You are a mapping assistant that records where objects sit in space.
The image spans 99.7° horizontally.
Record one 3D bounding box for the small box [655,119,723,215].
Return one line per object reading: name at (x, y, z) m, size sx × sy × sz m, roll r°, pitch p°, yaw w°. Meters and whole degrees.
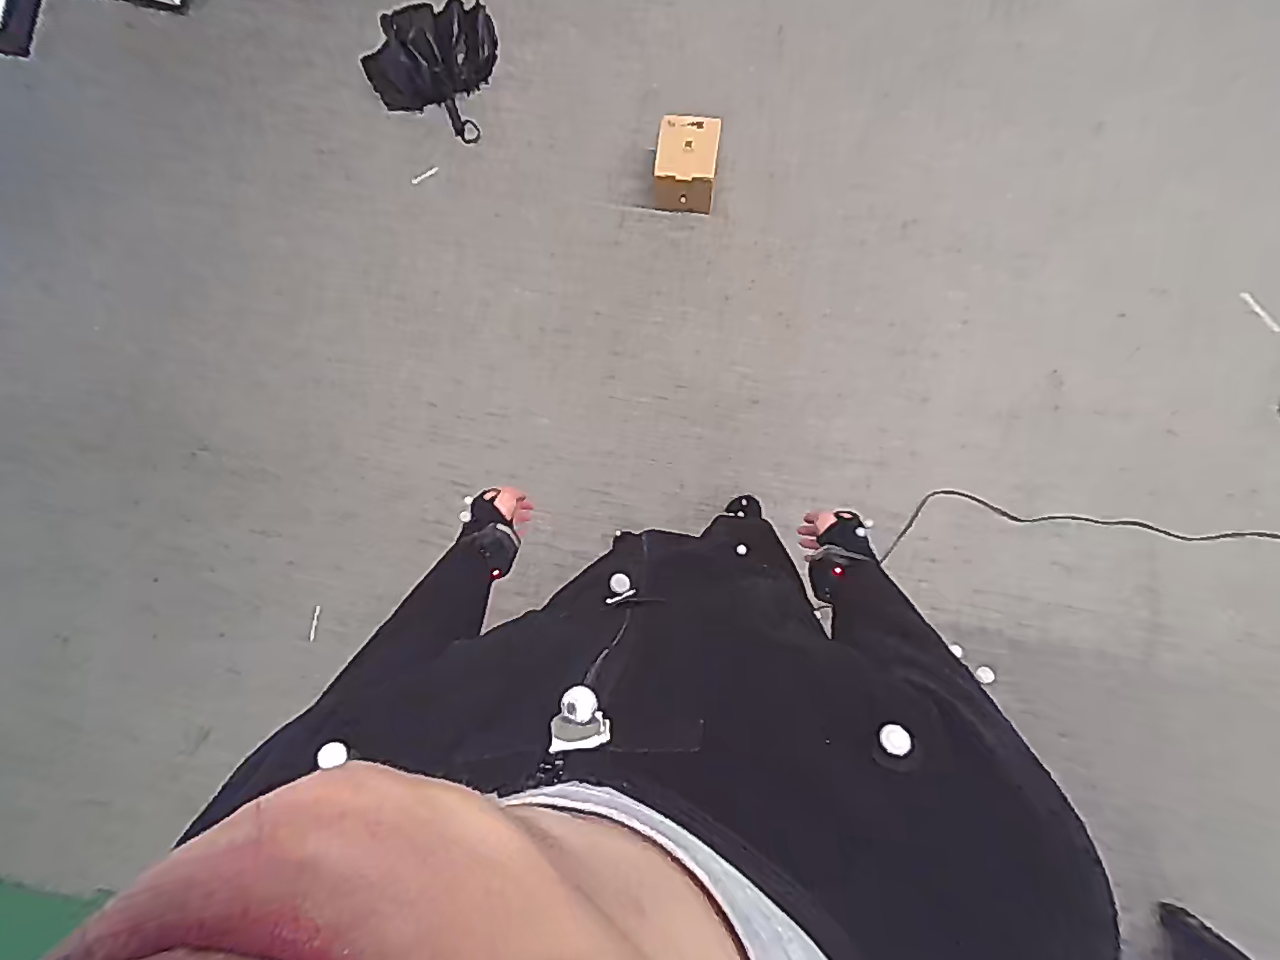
small box at (0.139, -0.881, 1.536) m, size 0.168 × 0.176 × 0.179 m, roll 8°, pitch 87°, yaw 5°
